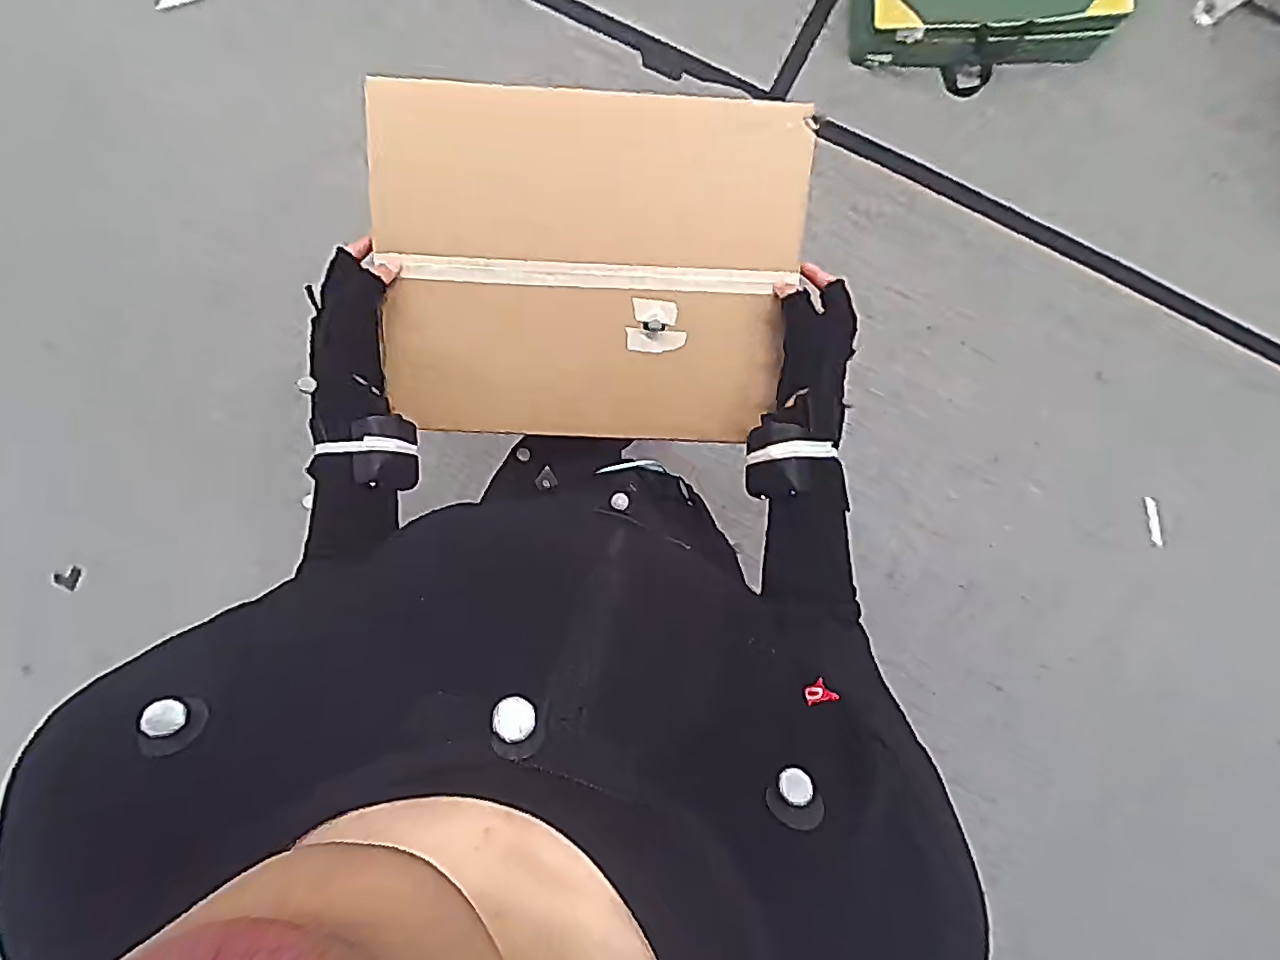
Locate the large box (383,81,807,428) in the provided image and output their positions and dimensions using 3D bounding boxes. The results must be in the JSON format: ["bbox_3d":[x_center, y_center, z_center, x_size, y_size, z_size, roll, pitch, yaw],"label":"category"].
[{"bbox_3d":[-0.051,-0.243,0.680,0.408,0.320,0.320,3,104,-2],"label":"large box"}]
